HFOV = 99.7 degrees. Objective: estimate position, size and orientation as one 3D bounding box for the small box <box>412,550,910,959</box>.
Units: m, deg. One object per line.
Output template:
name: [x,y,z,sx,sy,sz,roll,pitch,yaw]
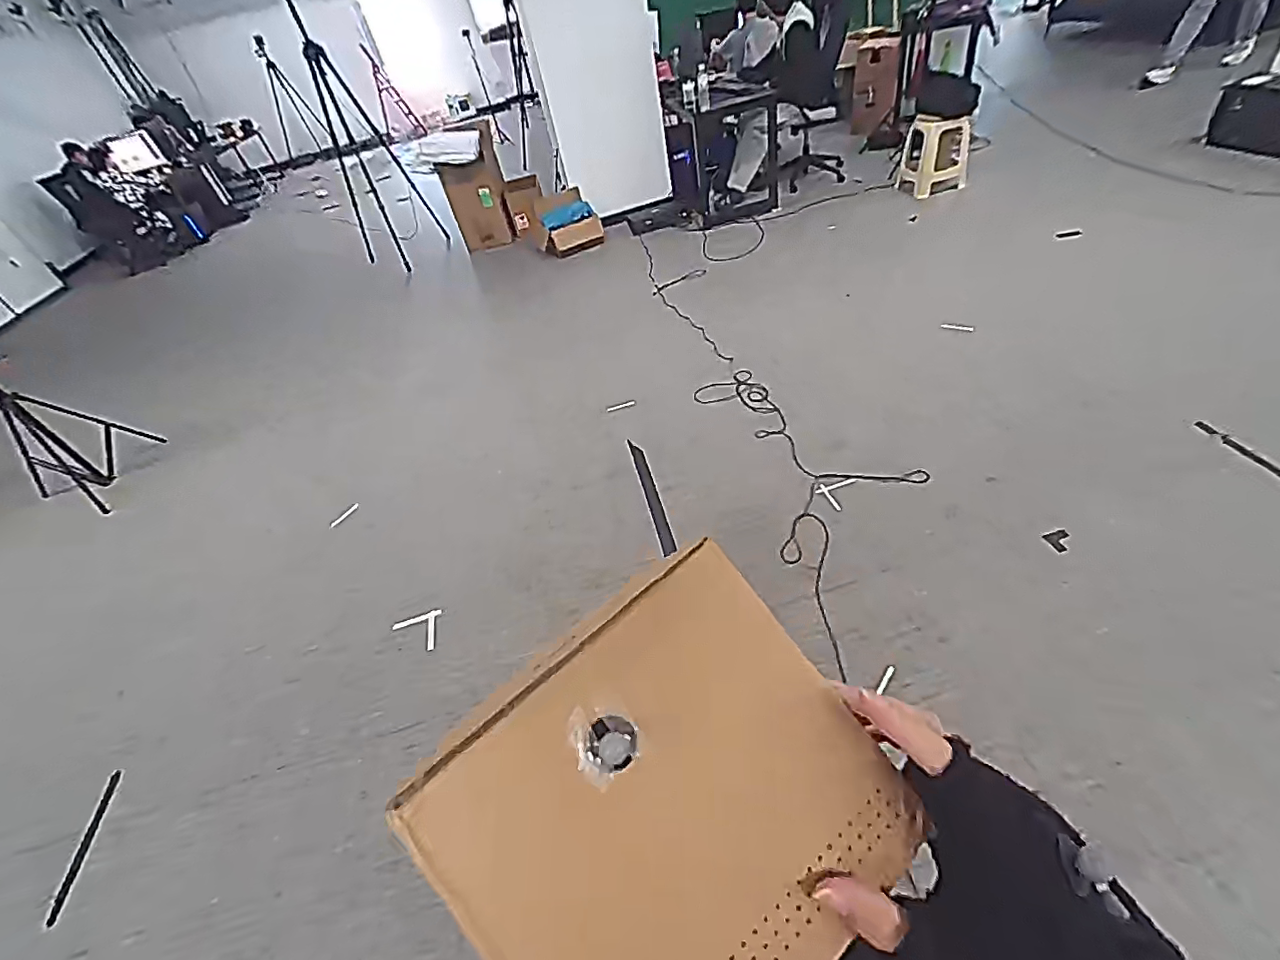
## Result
small box: [0.010,0.168,0.315,0.179,0.168,0.176,-36,83,-15]
